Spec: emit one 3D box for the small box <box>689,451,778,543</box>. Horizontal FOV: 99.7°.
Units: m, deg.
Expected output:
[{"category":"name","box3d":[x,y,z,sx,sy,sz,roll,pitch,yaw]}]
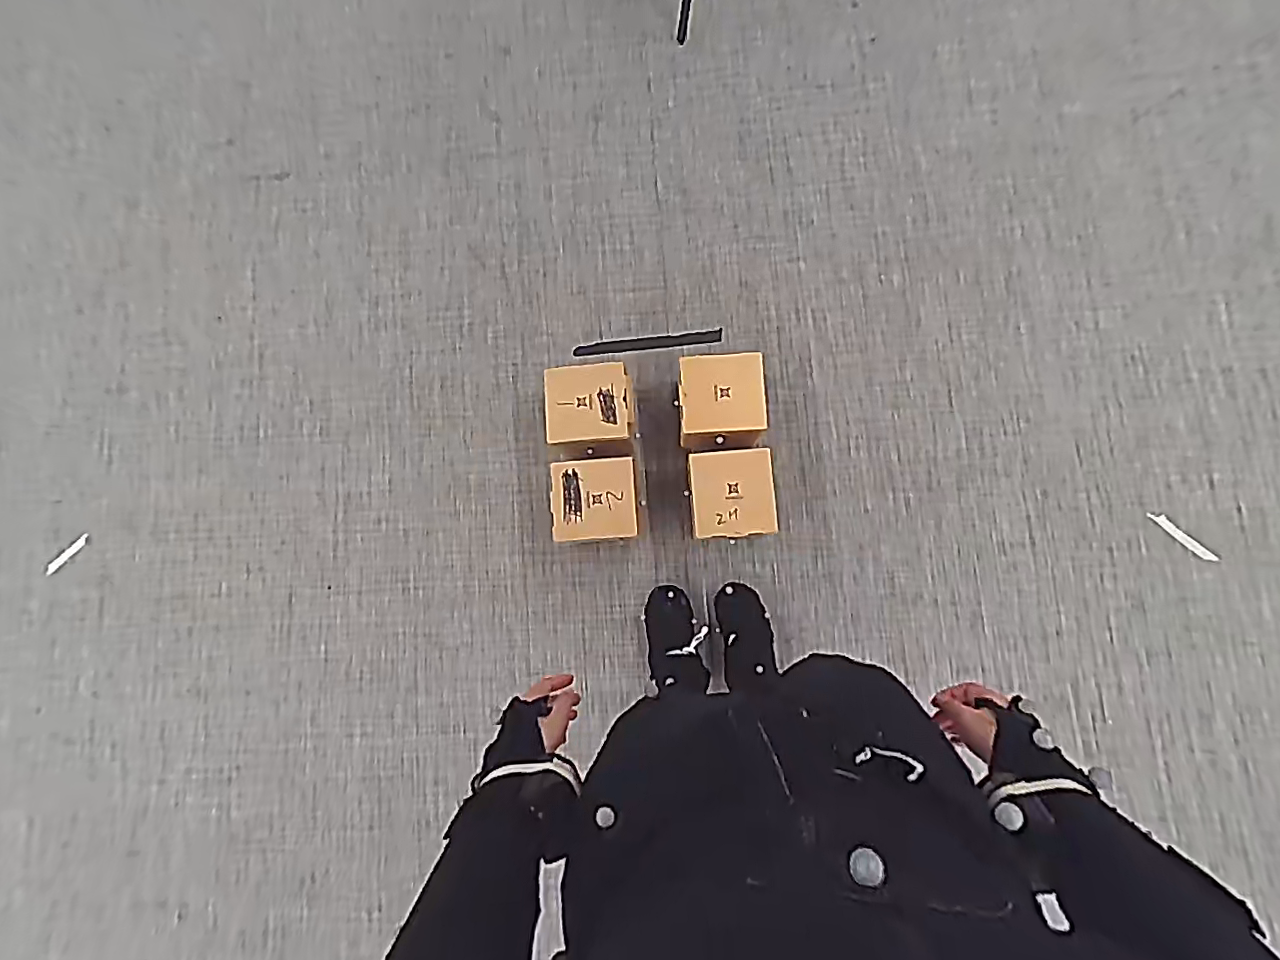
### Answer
[{"category":"small box","box3d":[0.195,0.043,1.178,0.168,0.176,0.179,-5,83,4]}]
